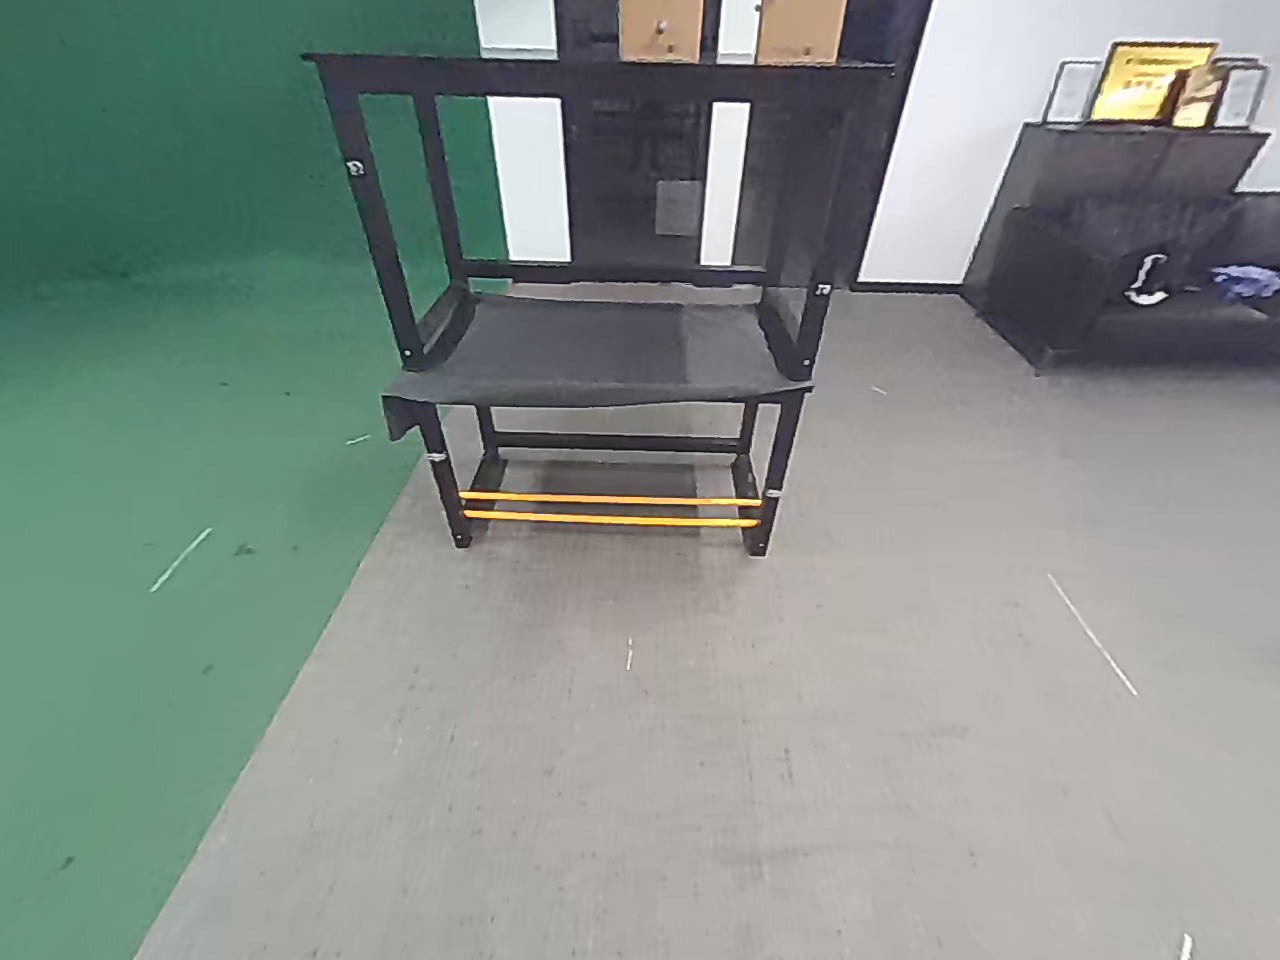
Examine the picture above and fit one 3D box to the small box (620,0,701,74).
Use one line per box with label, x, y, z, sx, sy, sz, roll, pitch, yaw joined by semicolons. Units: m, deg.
small box;0.039;-1.011;1.198;0.168;0.176;0.179;-2;39;-3
